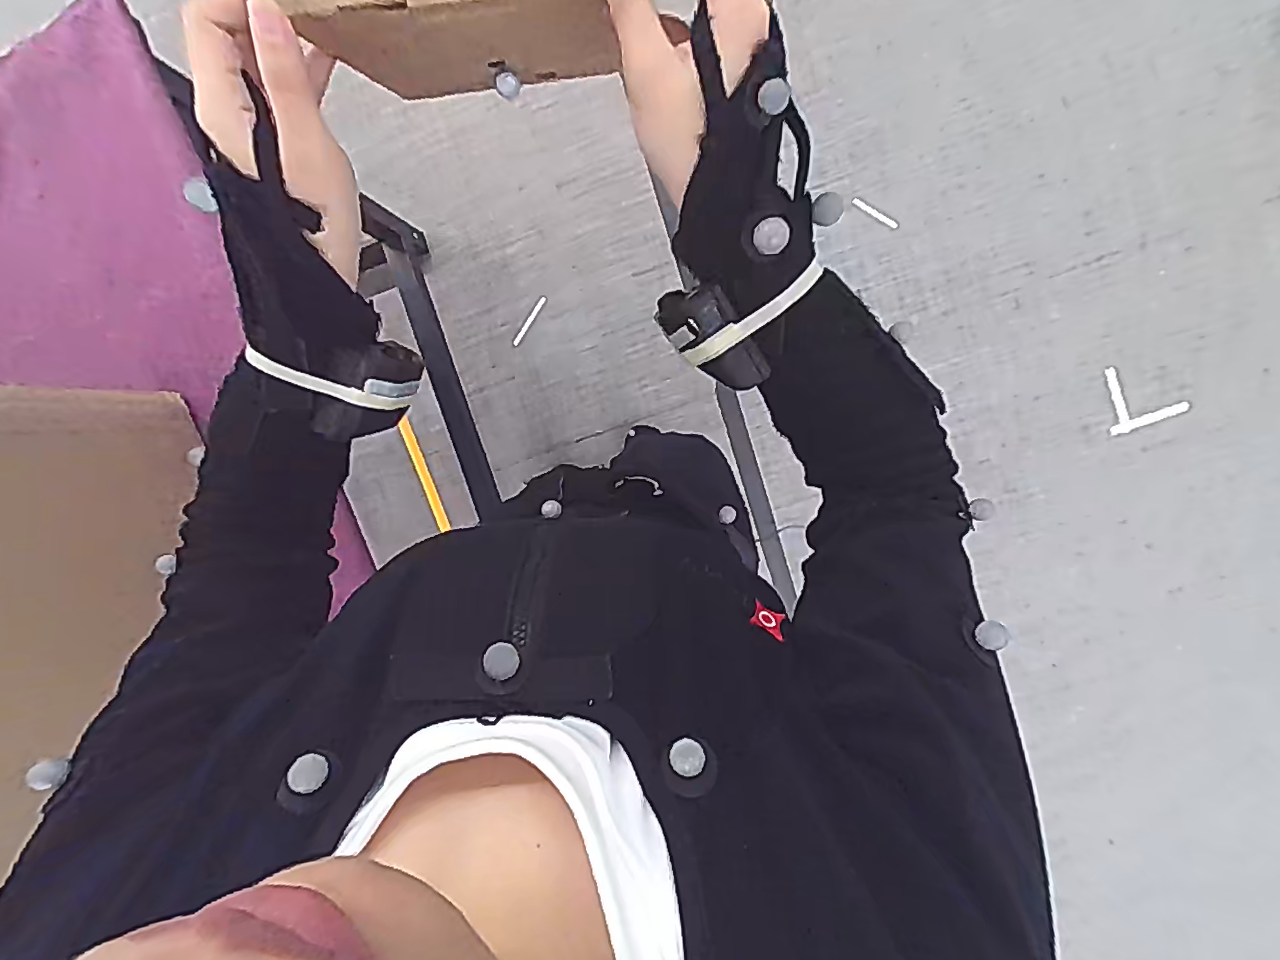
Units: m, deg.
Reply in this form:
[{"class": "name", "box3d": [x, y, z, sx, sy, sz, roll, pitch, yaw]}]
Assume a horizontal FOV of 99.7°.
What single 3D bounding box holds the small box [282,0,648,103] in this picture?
[{"class": "small box", "box3d": [-0.087, -0.323, 0.277, 0.168, 0.176, 0.179, -6, 115, 1]}]
